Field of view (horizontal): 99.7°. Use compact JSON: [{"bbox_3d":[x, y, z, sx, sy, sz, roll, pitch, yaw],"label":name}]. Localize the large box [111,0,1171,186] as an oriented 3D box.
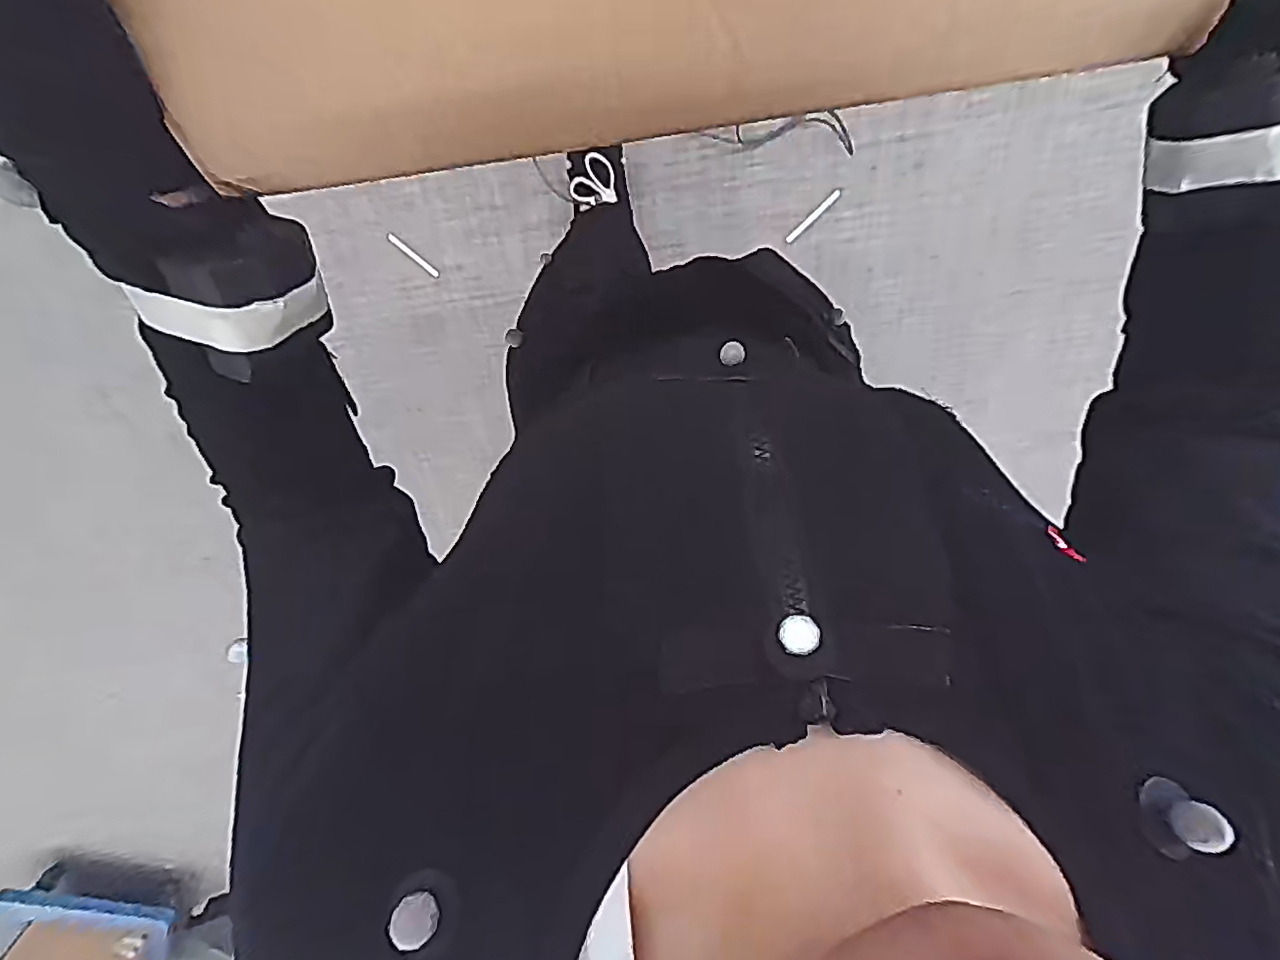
[{"bbox_3d":[-0.009,-0.366,0.203,0.408,0.320,0.320,-8,141,1],"label":"large box"}]
